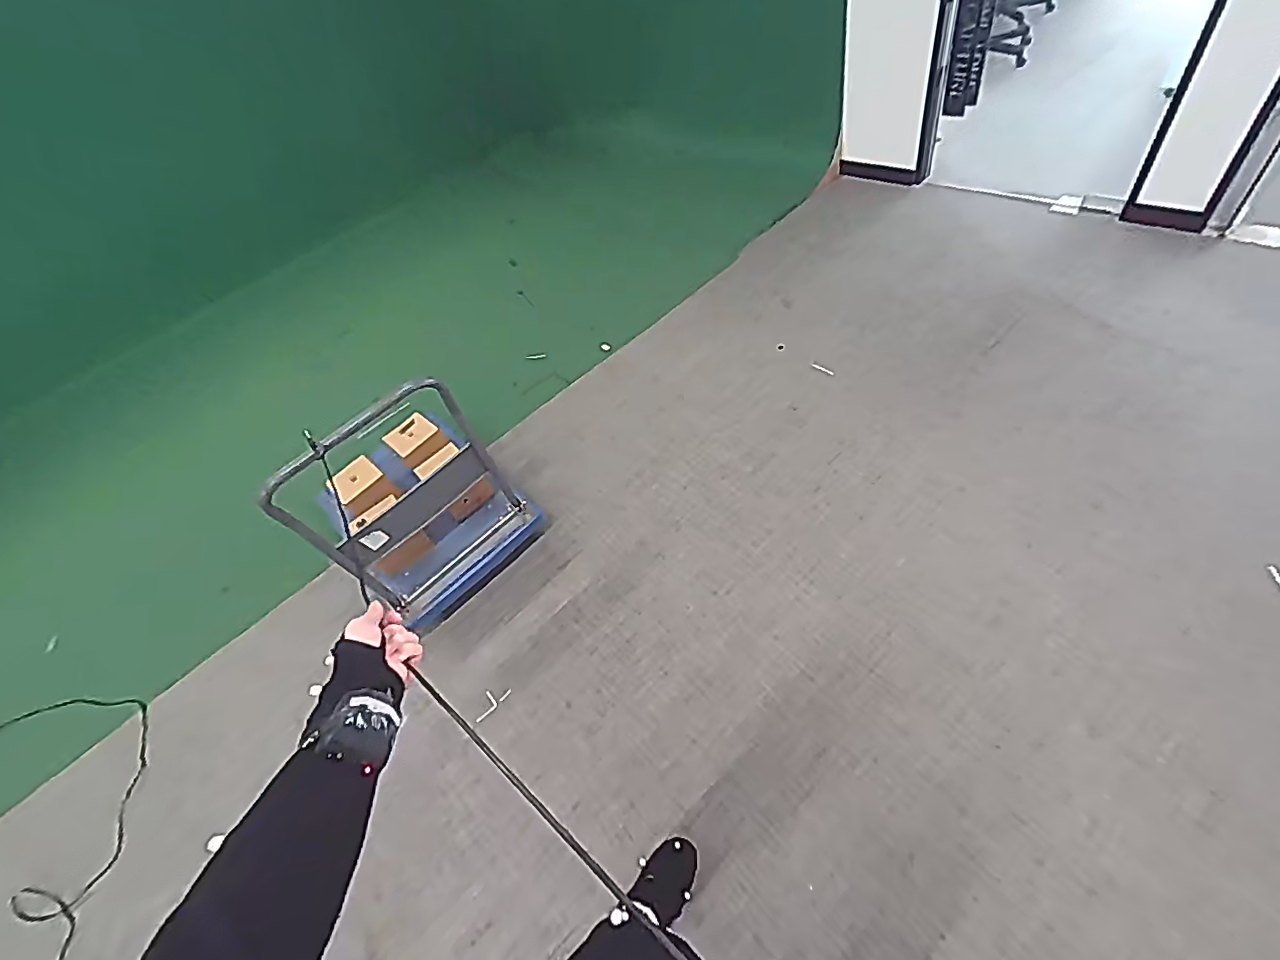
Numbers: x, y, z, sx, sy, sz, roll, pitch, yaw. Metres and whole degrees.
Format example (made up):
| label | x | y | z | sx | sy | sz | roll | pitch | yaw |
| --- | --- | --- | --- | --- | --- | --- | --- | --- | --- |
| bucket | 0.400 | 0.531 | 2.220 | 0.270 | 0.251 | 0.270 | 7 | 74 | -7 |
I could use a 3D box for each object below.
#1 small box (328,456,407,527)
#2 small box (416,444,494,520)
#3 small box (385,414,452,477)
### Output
| label | x | y | z | sx | sy | sz | roll | pitch | yaw |
| --- | --- | --- | --- | --- | --- | --- | --- | --- | --- |
| small box | -1.000 | 0.049 | 1.998 | 0.179 | 0.176 | 0.168 | 32 | 66 | 34 |
| small box | -0.654 | 0.011 | 1.924 | 0.168 | 0.176 | 0.179 | -41 | 53 | -16 |
| small box | -0.833 | -0.119 | 2.081 | 0.179 | 0.176 | 0.168 | 32 | 68 | 33 |
